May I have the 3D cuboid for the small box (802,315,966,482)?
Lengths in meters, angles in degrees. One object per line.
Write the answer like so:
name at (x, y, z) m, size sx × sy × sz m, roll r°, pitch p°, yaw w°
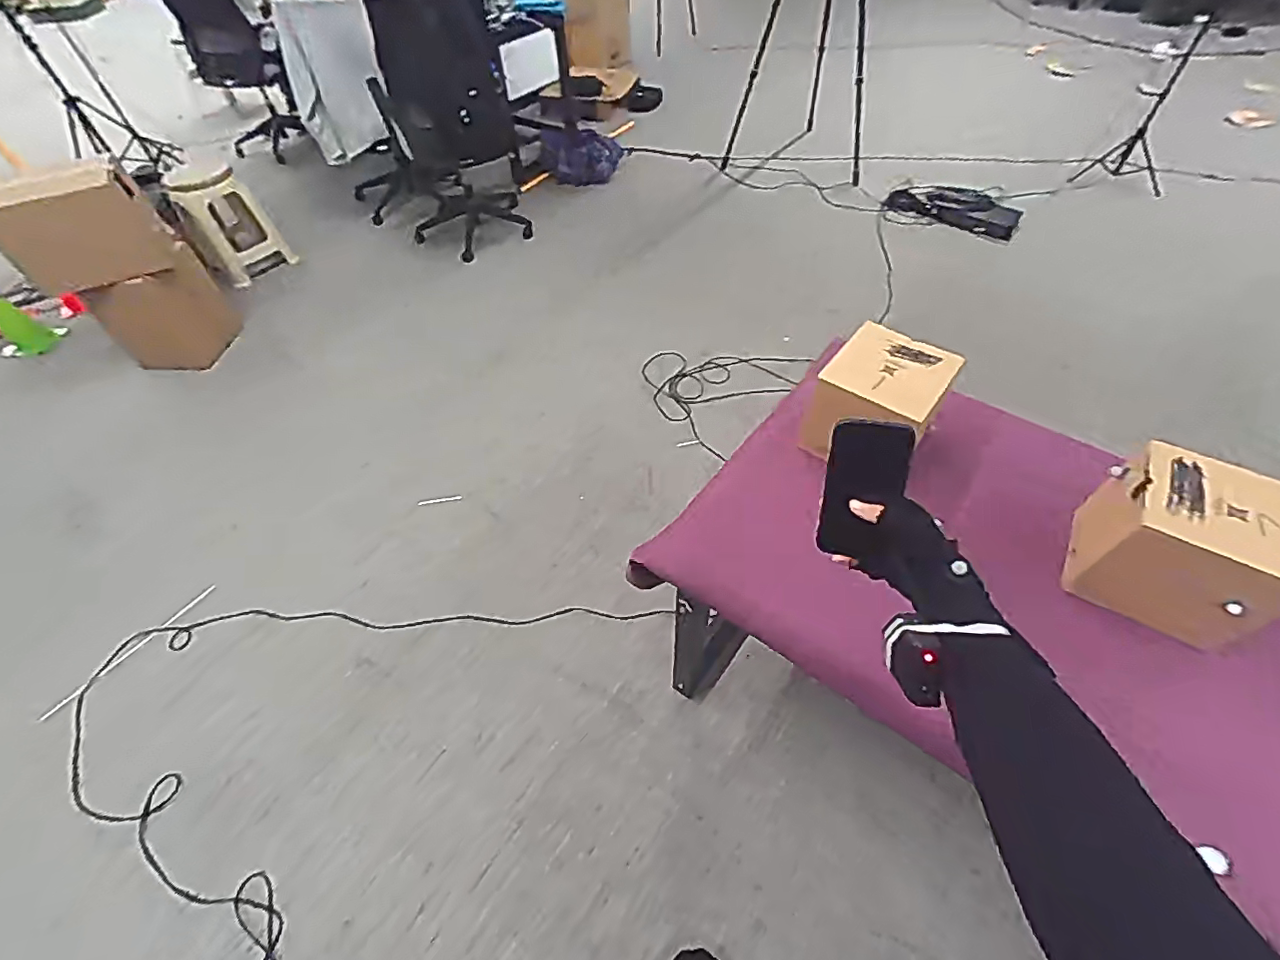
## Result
small box at (0.390, -0.133, 0.892) m, size 0.168 × 0.176 × 0.179 m, roll 33°, pitch 62°, yaw 24°
